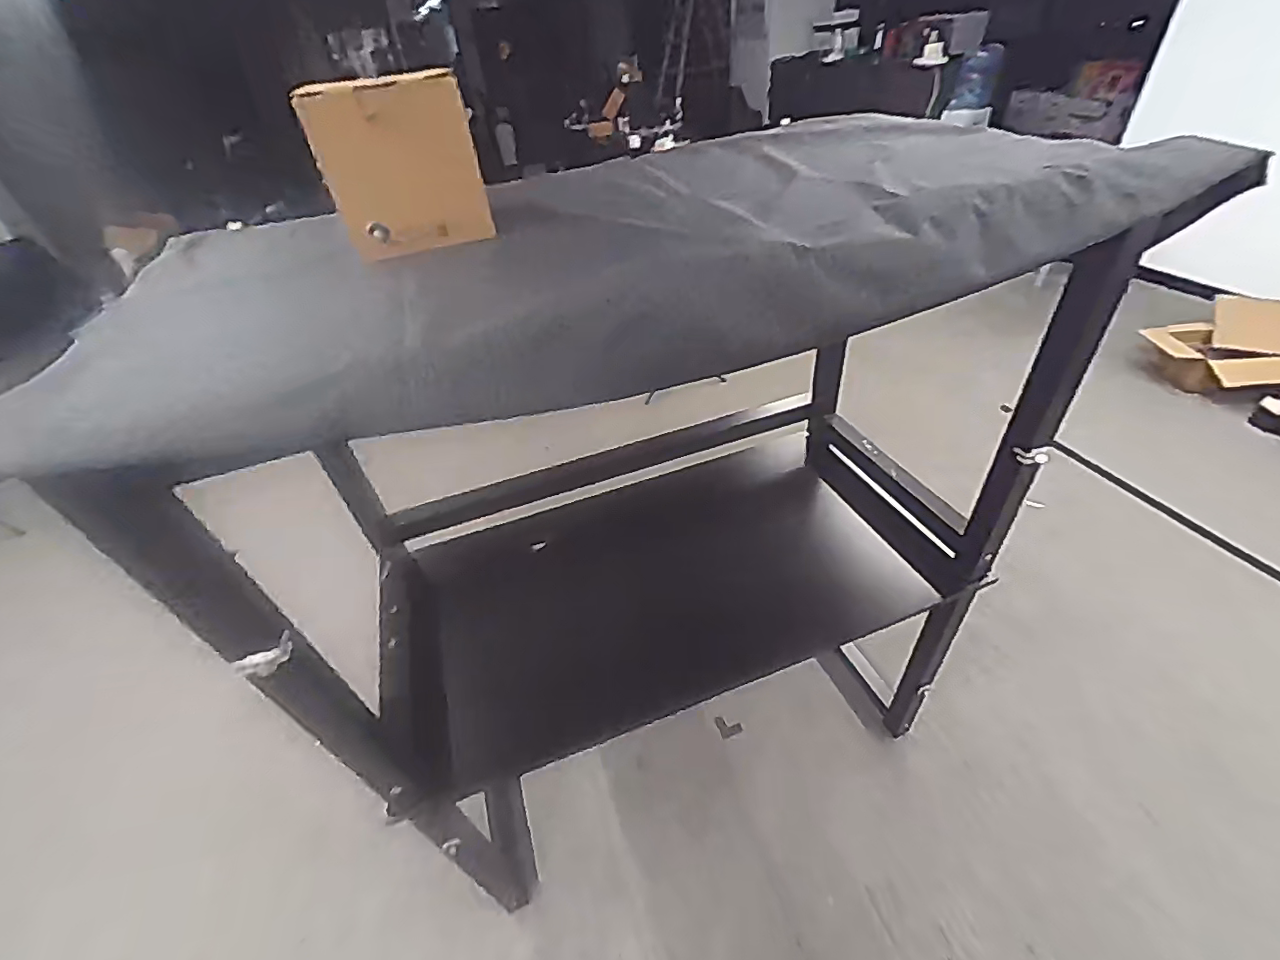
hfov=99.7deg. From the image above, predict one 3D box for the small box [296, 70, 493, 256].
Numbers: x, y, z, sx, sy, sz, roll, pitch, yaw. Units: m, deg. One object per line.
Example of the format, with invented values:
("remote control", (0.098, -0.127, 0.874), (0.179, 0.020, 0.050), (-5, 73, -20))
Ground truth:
("small box", (-0.291, -0.392, 0.674), (0.168, 0.176, 0.179), (-17, 40, -11))
